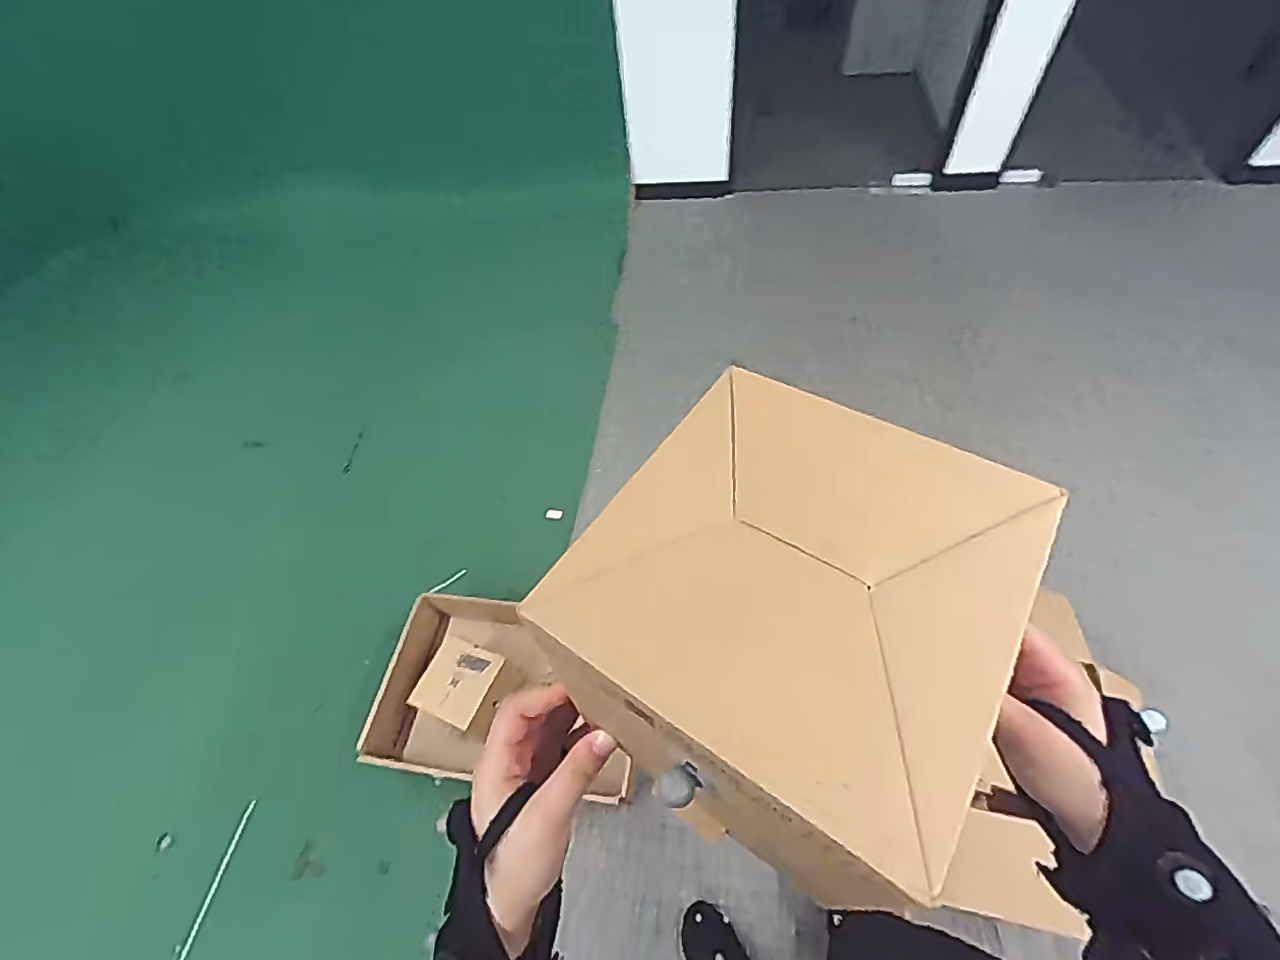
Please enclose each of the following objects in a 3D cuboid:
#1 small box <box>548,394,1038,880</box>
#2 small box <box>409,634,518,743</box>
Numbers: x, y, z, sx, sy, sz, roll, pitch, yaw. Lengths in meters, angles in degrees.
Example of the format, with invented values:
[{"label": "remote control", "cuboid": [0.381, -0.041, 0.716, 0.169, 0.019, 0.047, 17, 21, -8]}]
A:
[{"label": "small box", "cuboid": [0.076, 0.074, 0.294, 0.168, 0.176, 0.179, 26, 58, 25]}, {"label": "small box", "cuboid": [-0.414, 0.508, 1.312, 0.168, 0.176, 0.179, 18, 58, 16]}]
